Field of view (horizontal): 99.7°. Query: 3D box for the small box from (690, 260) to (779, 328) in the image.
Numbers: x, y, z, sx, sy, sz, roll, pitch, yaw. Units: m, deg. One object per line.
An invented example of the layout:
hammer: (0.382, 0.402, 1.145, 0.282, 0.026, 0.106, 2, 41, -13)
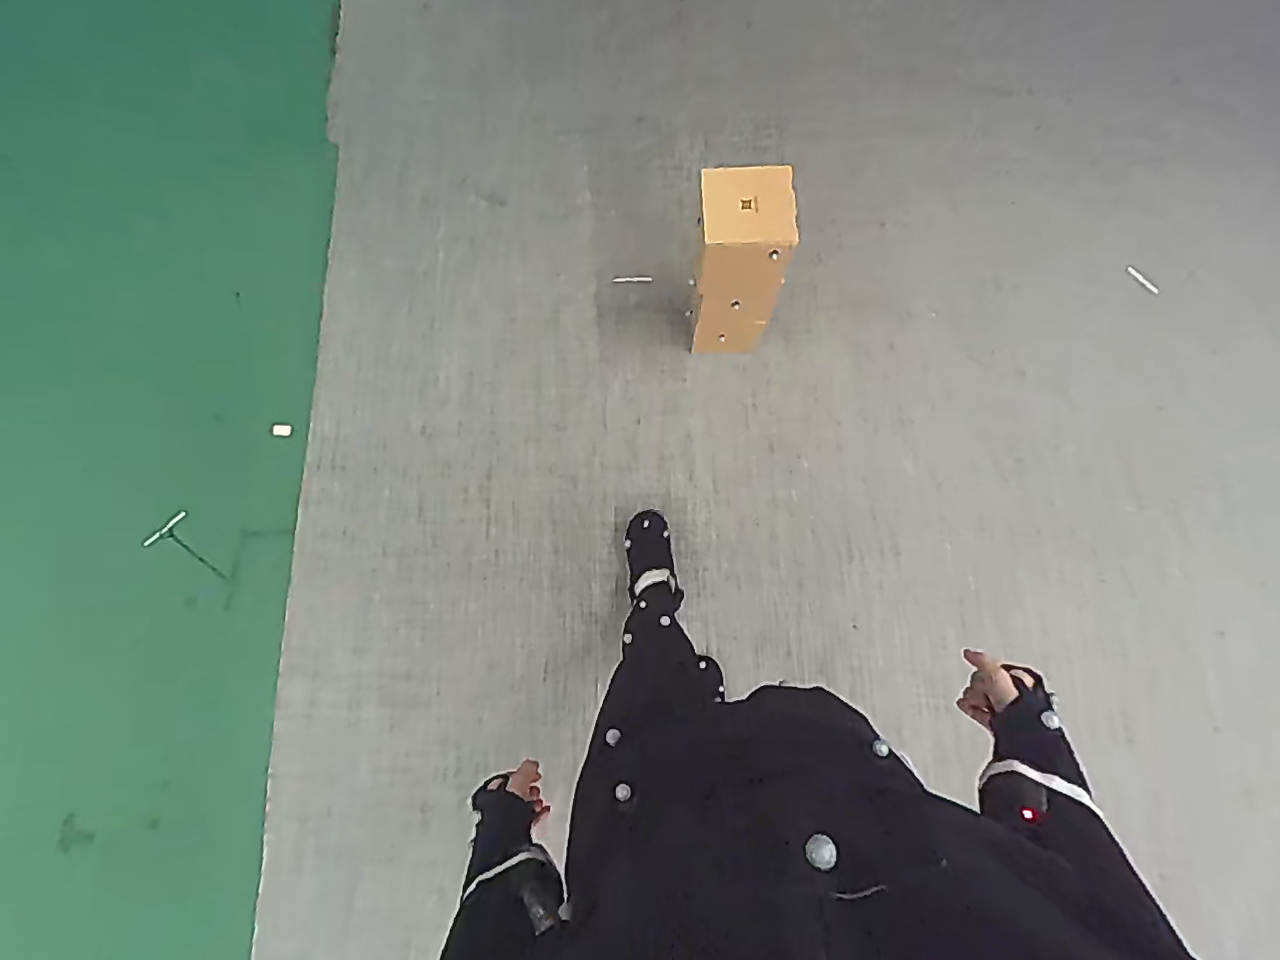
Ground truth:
small box: (0.215, -0.473, 1.271, 0.179, 0.176, 0.168, -4, 77, 2)

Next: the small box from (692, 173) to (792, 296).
small box: (0.200, -0.495, 1.109, 0.179, 0.176, 0.168, -2, 78, 0)
